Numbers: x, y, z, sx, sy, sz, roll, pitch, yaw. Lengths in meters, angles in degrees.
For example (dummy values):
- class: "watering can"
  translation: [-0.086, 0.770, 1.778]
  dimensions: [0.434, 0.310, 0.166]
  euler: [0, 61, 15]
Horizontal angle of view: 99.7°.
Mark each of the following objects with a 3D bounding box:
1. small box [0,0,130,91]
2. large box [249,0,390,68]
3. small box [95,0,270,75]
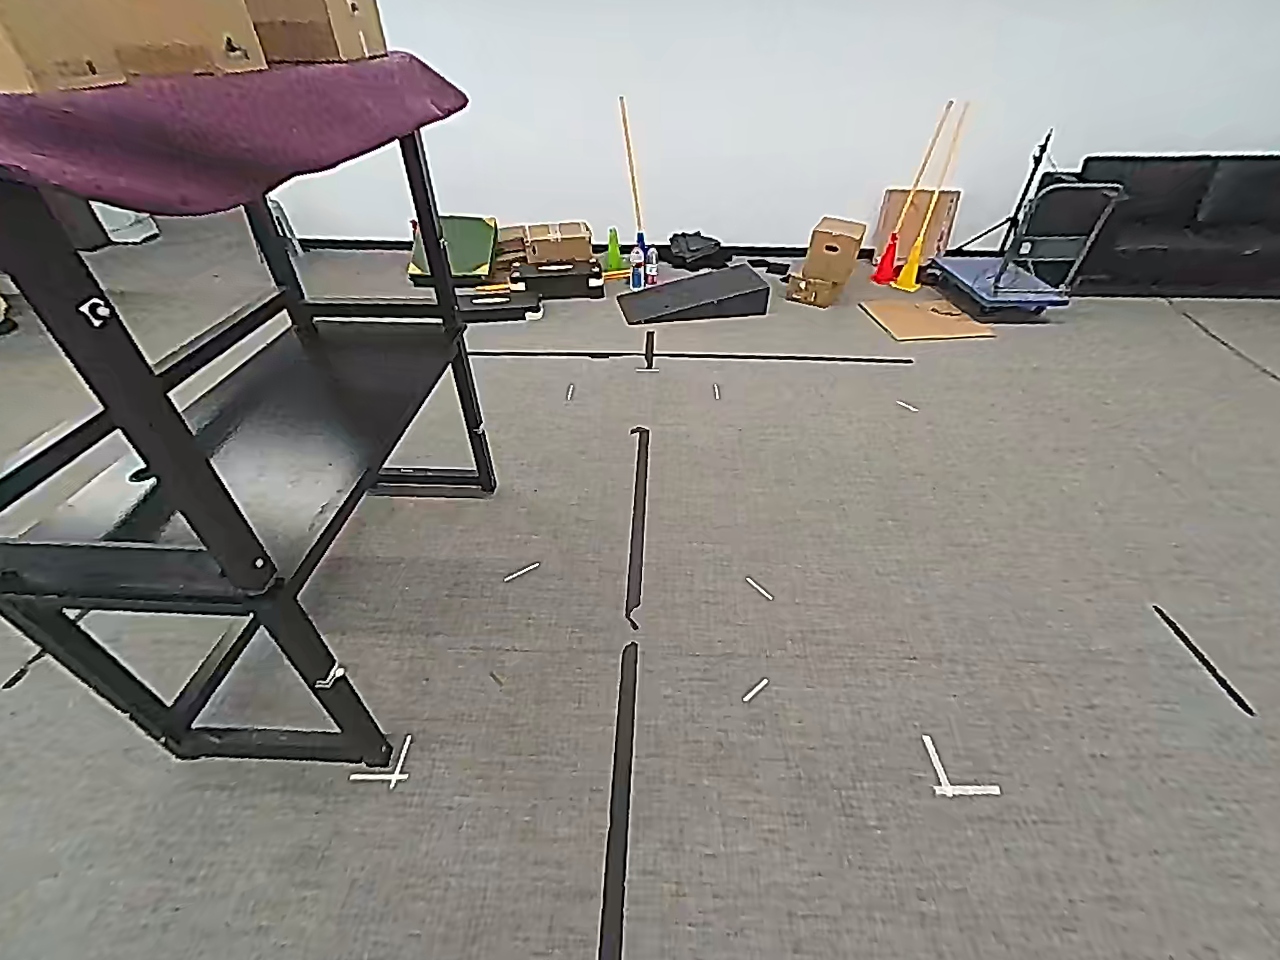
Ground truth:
- class: "small box"
  translation: [-0.782, -0.564, 0.635]
  dimensions: [0.179, 0.176, 0.168]
  euler: [-4, 40, -4]
- class: "large box"
  translation: [-0.826, -1.094, 1.167]
  dimensions: [0.408, 0.320, 0.320]
  euler: [-1, 40, 0]
- class: "small box"
  translation: [-0.775, -0.785, 0.903]
  dimensions: [0.179, 0.176, 0.168]
  euler: [0, 41, -1]
